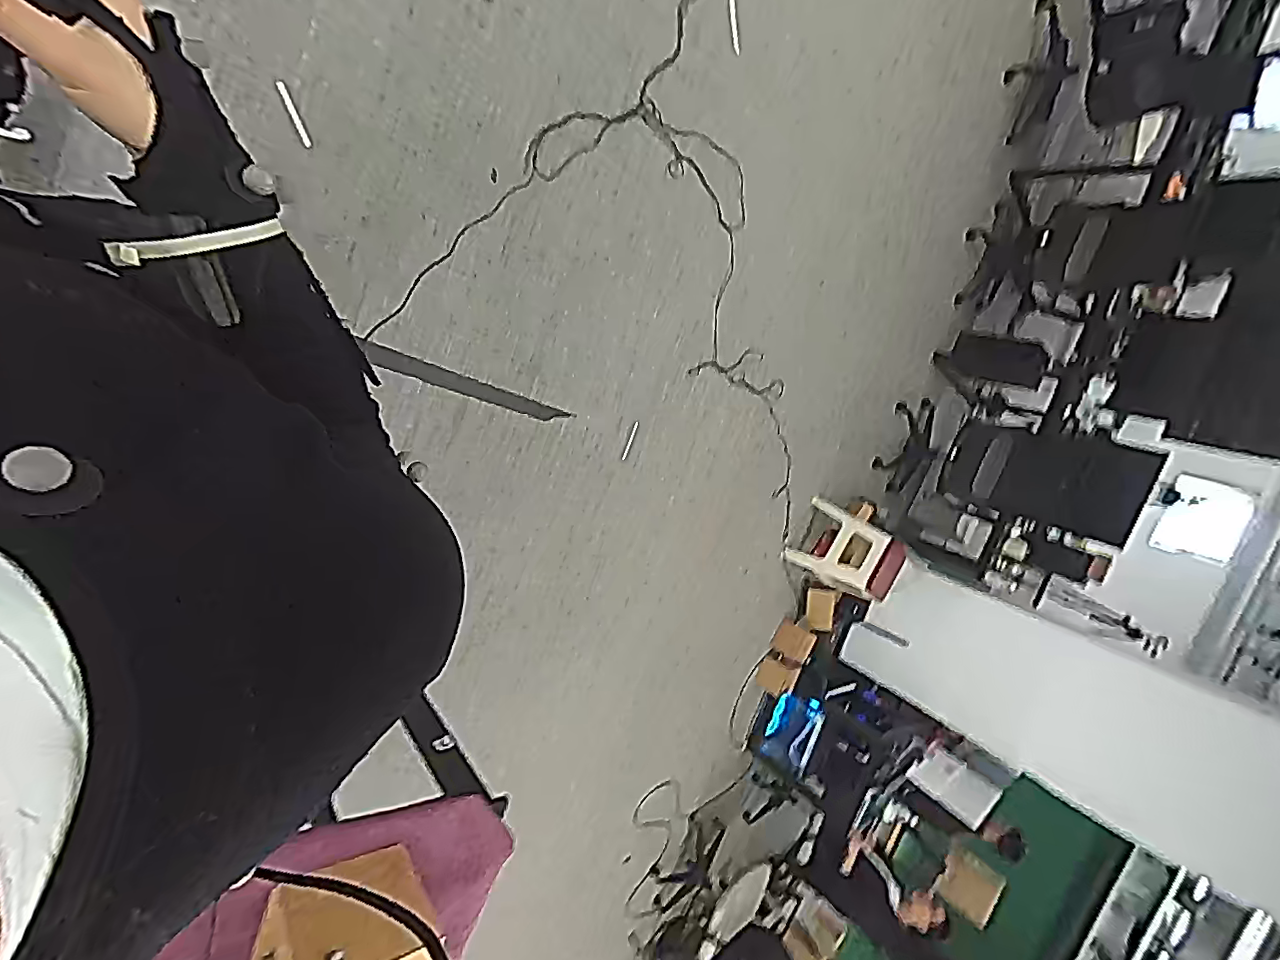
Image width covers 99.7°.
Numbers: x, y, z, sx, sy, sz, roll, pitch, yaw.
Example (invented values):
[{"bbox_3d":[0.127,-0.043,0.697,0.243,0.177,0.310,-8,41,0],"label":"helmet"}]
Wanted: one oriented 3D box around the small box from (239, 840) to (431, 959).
[{"bbox_3d":[-0.430,0.653,0.758,0.179,0.176,0.168,13,102,-46],"label":"small box"}]
